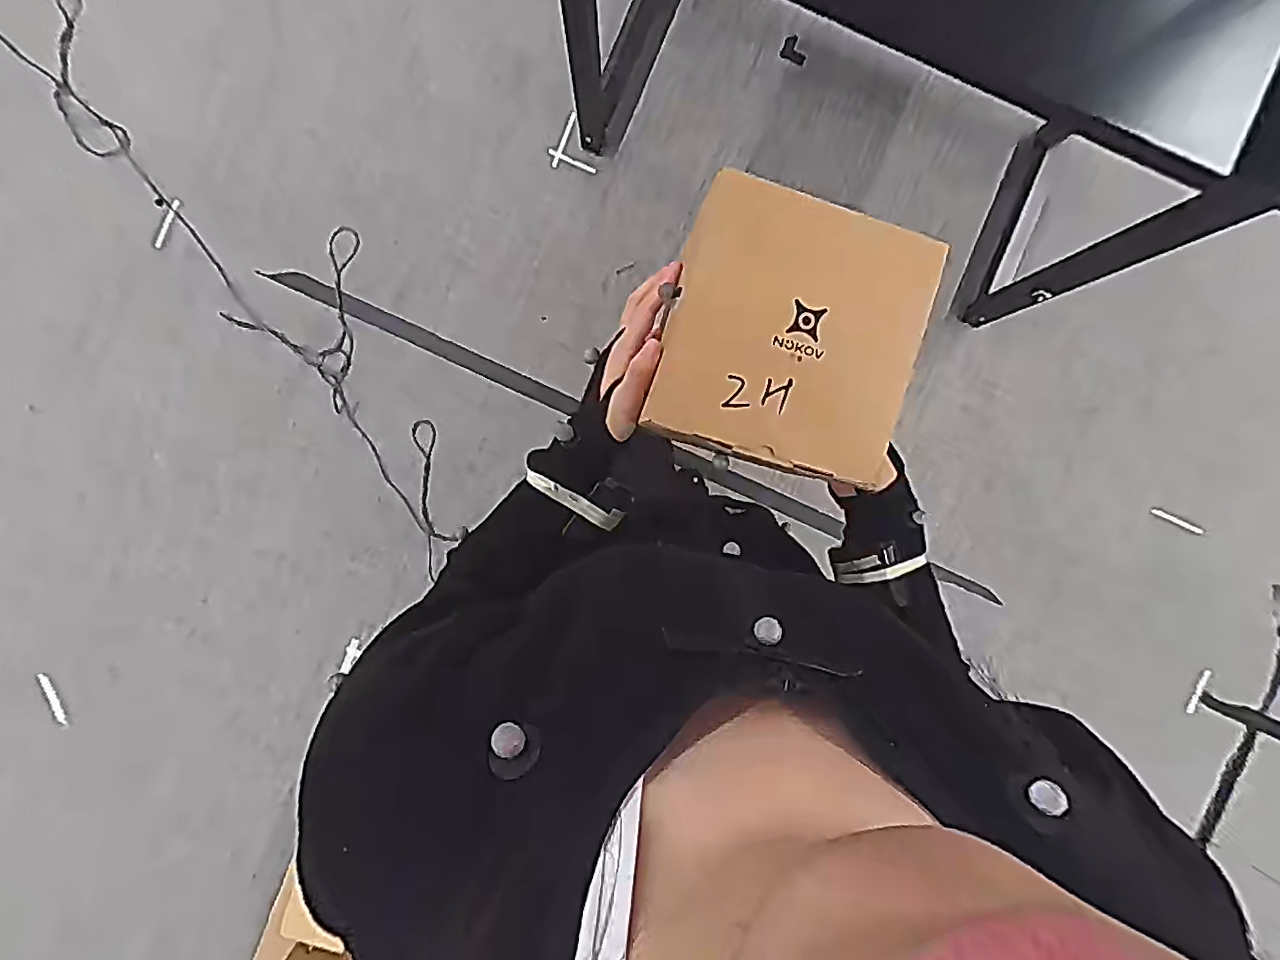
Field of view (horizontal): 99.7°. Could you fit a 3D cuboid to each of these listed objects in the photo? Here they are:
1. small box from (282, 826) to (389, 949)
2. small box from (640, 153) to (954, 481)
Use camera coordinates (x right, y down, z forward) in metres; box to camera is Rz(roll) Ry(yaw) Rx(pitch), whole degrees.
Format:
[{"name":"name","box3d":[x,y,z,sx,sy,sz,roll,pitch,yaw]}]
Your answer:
[{"name":"small box","box3d":[-0.782,1.051,1.409,0.168,0.176,0.179,18,92,-2]},{"name":"small box","box3d":[0.102,-0.110,0.434,0.168,0.176,0.179,16,93,-6]}]
